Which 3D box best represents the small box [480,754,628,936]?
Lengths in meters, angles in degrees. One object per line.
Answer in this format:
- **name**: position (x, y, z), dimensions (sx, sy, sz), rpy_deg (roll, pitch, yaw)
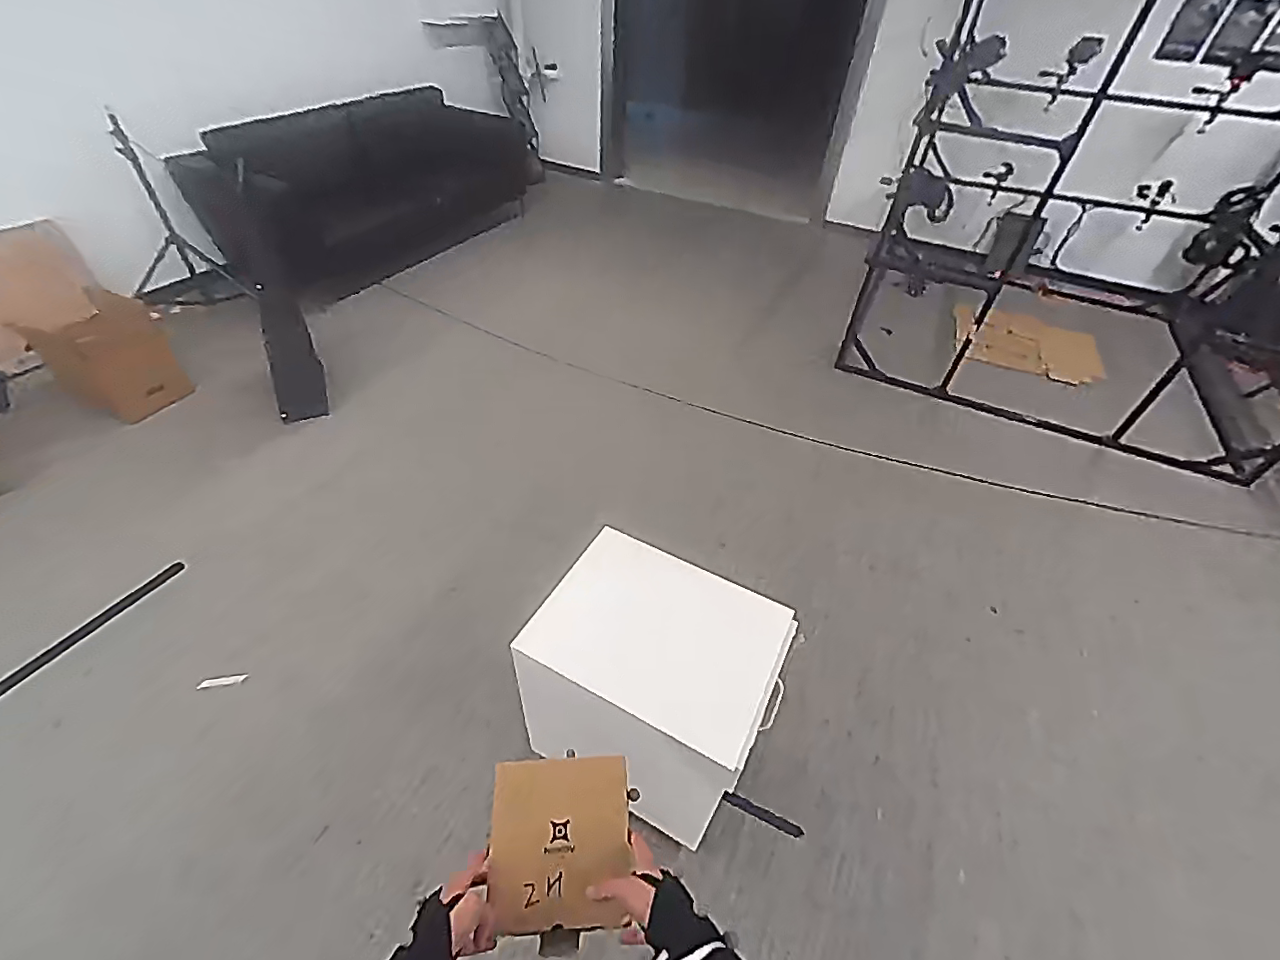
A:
- **small box**: position (-0.100, 0.466, 0.709), dimensions (0.168, 0.176, 0.179), rpy_deg (-2, 61, -1)
